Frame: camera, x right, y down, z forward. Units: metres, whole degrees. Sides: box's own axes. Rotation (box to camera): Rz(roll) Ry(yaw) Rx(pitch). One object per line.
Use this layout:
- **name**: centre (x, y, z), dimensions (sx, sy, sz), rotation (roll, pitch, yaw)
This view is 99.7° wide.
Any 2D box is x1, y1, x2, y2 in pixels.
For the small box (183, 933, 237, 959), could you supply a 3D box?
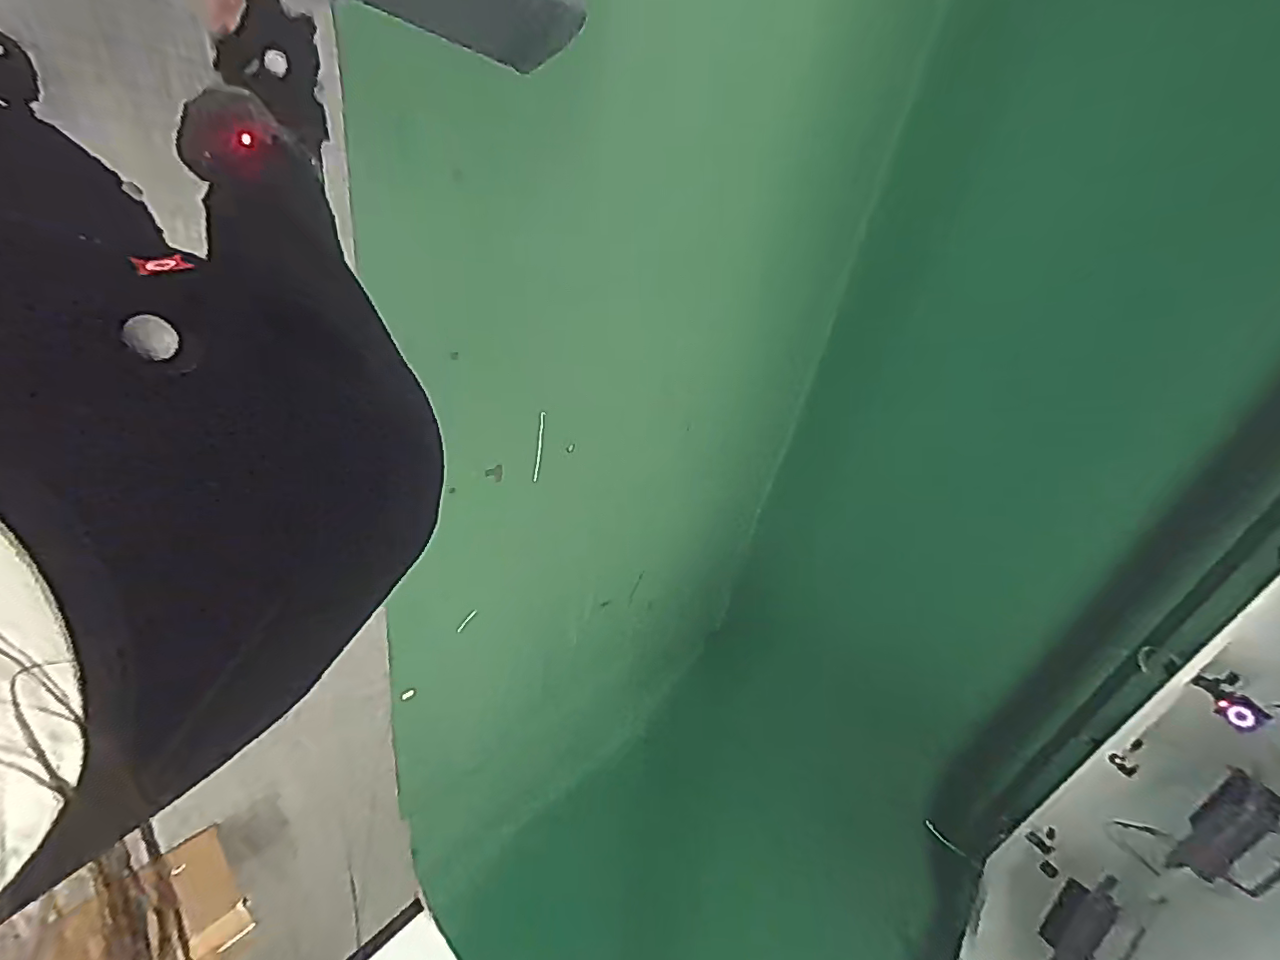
- **small box**: centre (-1.303, 1.525, 1.609), dimensions (0.179, 0.176, 0.168), rotation (-24, 130, -43)
